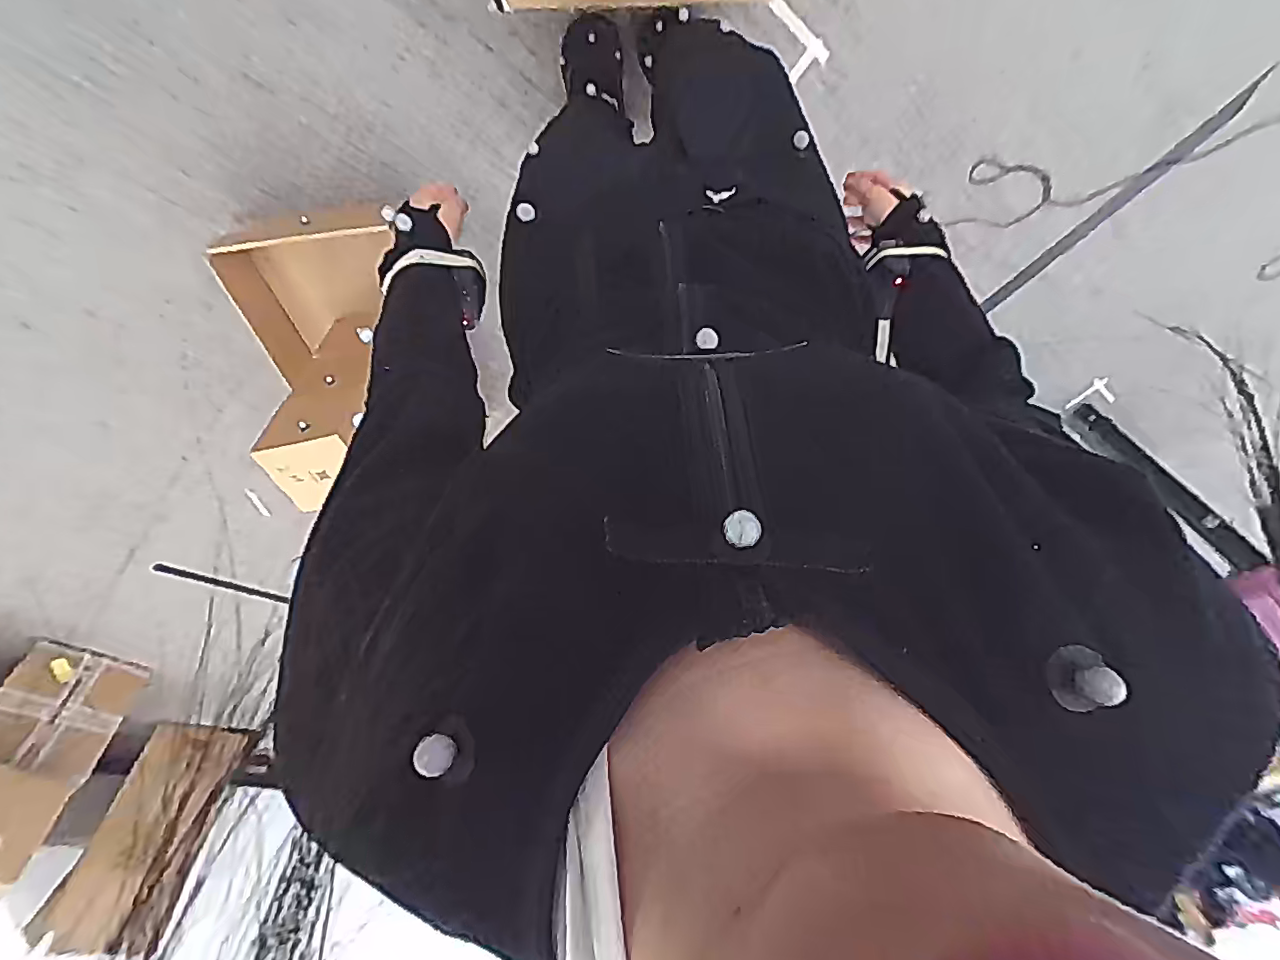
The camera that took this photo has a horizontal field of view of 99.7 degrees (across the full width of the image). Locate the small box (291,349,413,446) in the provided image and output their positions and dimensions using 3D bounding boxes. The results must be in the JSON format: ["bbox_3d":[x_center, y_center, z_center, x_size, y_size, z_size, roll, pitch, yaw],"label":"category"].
[{"bbox_3d":[-0.636,-0.177,1.228,0.179,0.176,0.168,-10,133,4],"label":"small box"}]

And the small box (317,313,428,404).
[{"bbox_3d":[-0.650,-0.293,1.340,0.179,0.176,0.168,-8,134,0],"label":"small box"}]

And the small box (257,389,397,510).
[{"bbox_3d":[-0.620,-0.067,1.105,0.179,0.176,0.168,-12,133,3],"label":"small box"}]
